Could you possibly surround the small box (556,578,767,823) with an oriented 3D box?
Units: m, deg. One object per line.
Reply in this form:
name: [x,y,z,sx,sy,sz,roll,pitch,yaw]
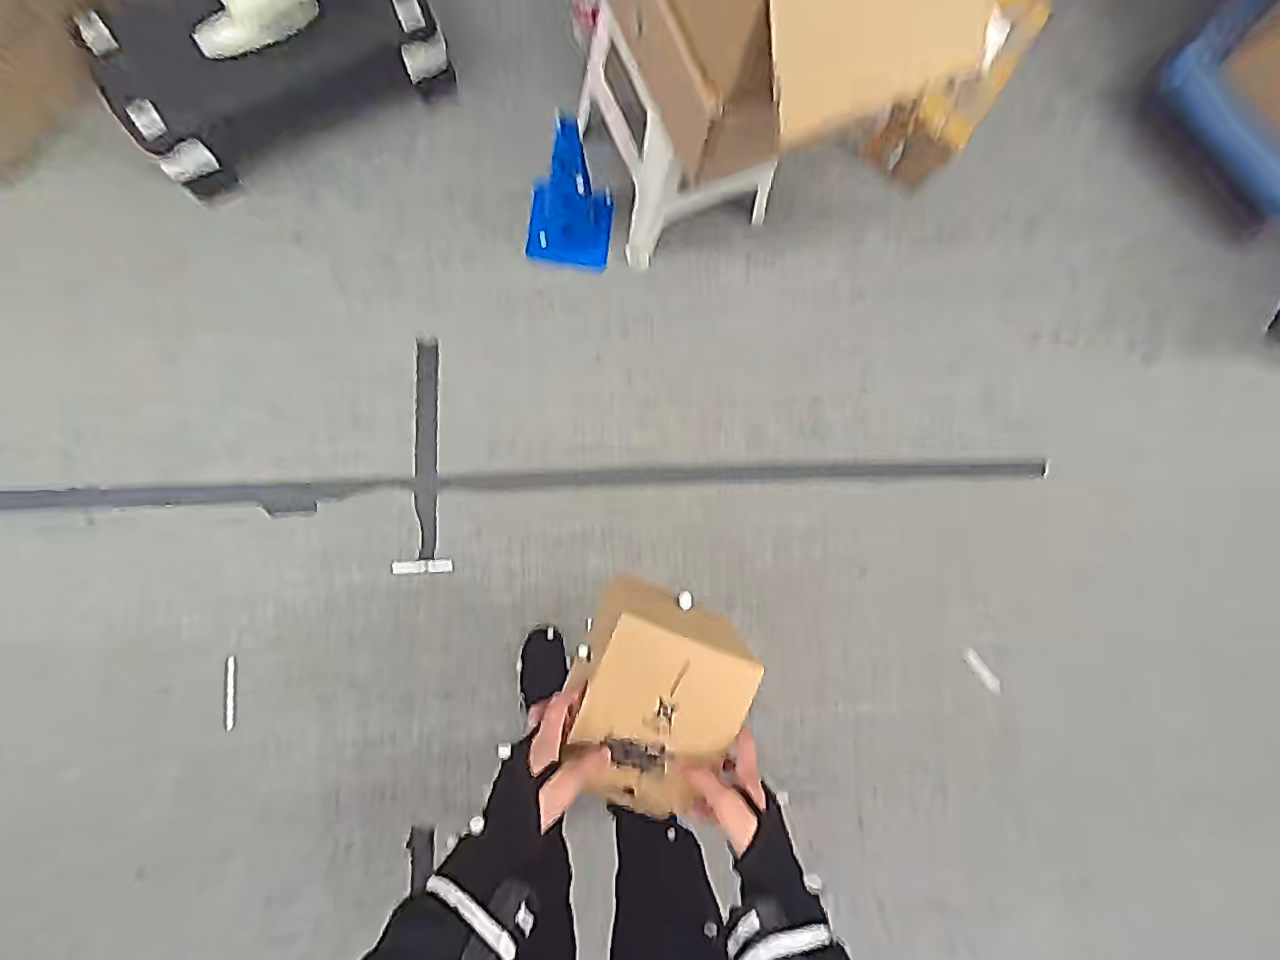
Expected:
small box: [0.017,0.239,0.628,0.168,0.176,0.179,24,92,-7]
